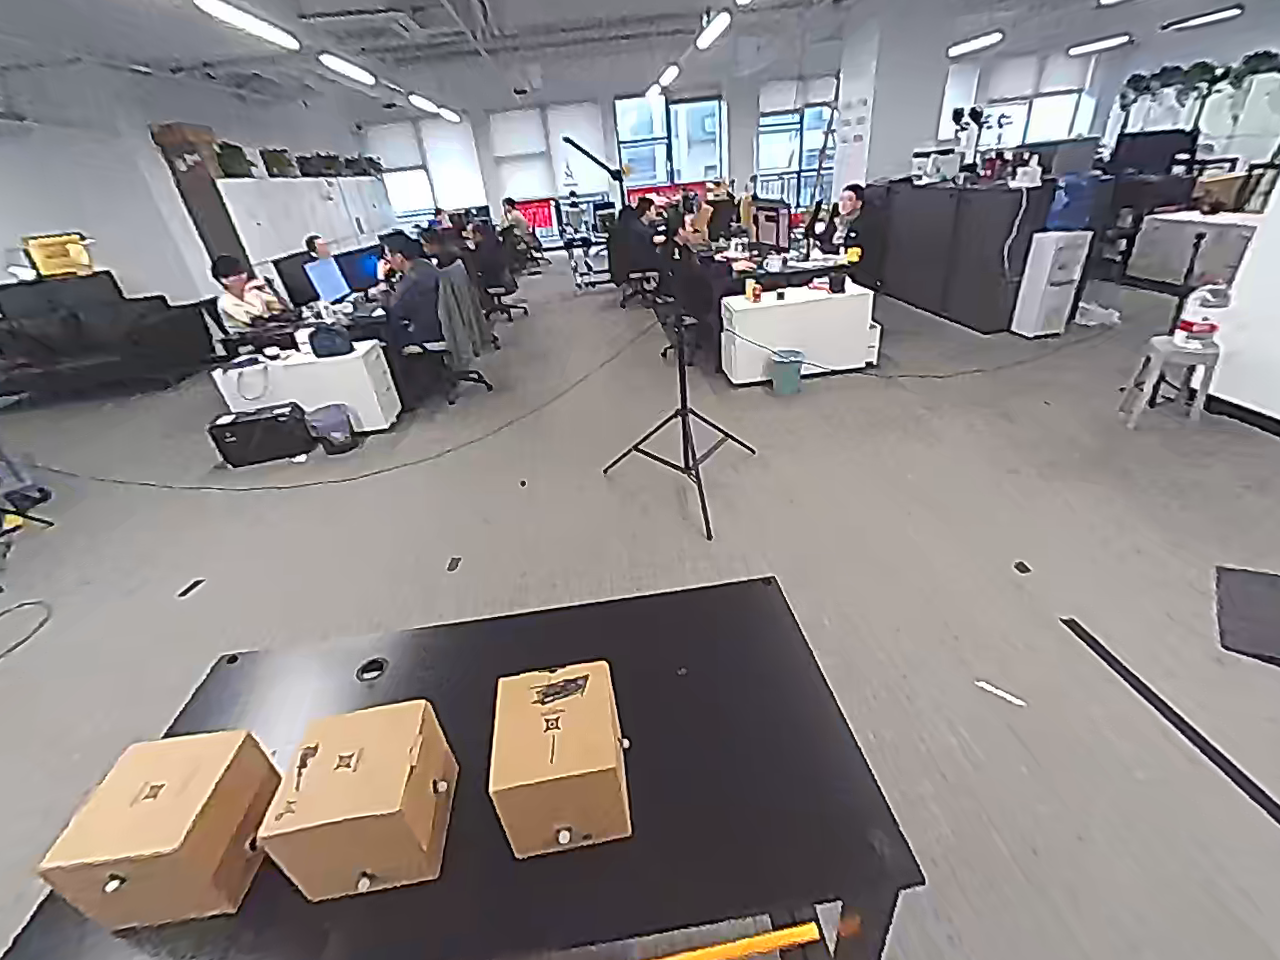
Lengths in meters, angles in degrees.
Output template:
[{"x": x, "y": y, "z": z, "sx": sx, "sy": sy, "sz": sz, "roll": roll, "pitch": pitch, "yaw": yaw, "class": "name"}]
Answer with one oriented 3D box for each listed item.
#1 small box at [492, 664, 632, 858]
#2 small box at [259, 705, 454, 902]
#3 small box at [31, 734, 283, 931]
[{"x": -0.108, "y": 0.403, "z": 0.787, "sx": 0.168, "sy": 0.176, "sz": 0.179, "roll": -9, "pitch": 30, "yaw": -4, "class": "small box"}, {"x": -0.375, "y": 0.450, "z": 0.759, "sx": 0.179, "sy": 0.176, "sz": 0.168, "roll": -8, "pitch": 29, "yaw": -5, "class": "small box"}, {"x": -0.636, "y": 0.486, "z": 0.748, "sx": 0.179, "sy": 0.176, "sz": 0.168, "roll": -6, "pitch": 30, "yaw": -2, "class": "small box"}]
